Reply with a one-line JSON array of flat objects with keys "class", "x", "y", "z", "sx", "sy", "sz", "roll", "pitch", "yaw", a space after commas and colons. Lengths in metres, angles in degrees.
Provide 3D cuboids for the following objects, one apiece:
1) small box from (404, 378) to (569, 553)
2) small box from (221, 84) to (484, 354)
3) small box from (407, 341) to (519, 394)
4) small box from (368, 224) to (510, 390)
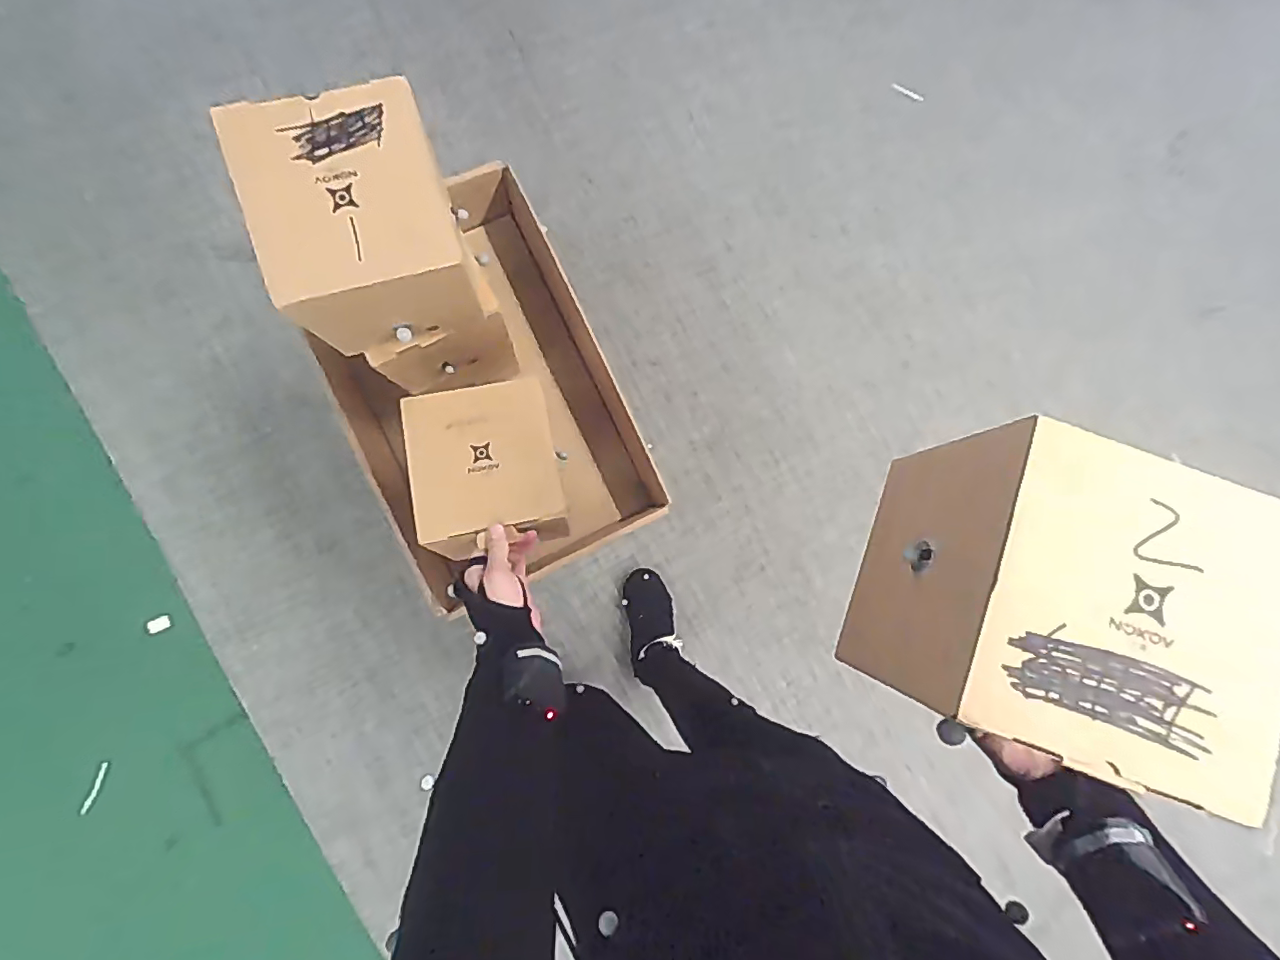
[{"class": "small box", "x": -0.187, "y": -0.008, "z": 0.697, "sx": 0.168, "sy": 0.176, "sz": 0.179, "roll": -10, "pitch": 75, "yaw": -8}, {"class": "small box", "x": -0.272, "y": -0.251, "z": 0.555, "sx": 0.168, "sy": 0.176, "sz": 0.179, "roll": -17, "pitch": 91, "yaw": -8}, {"class": "small box", "x": -0.310, "y": -0.237, "z": 0.879, "sx": 0.168, "sy": 0.176, "sz": 0.179, "roll": -26, "pitch": 91, "yaw": -8}, {"class": "small box", "x": -0.288, "y": -0.241, "z": 0.719, "sx": 0.168, "sy": 0.176, "sz": 0.179, "roll": -27, "pitch": 92, "yaw": -9}]
